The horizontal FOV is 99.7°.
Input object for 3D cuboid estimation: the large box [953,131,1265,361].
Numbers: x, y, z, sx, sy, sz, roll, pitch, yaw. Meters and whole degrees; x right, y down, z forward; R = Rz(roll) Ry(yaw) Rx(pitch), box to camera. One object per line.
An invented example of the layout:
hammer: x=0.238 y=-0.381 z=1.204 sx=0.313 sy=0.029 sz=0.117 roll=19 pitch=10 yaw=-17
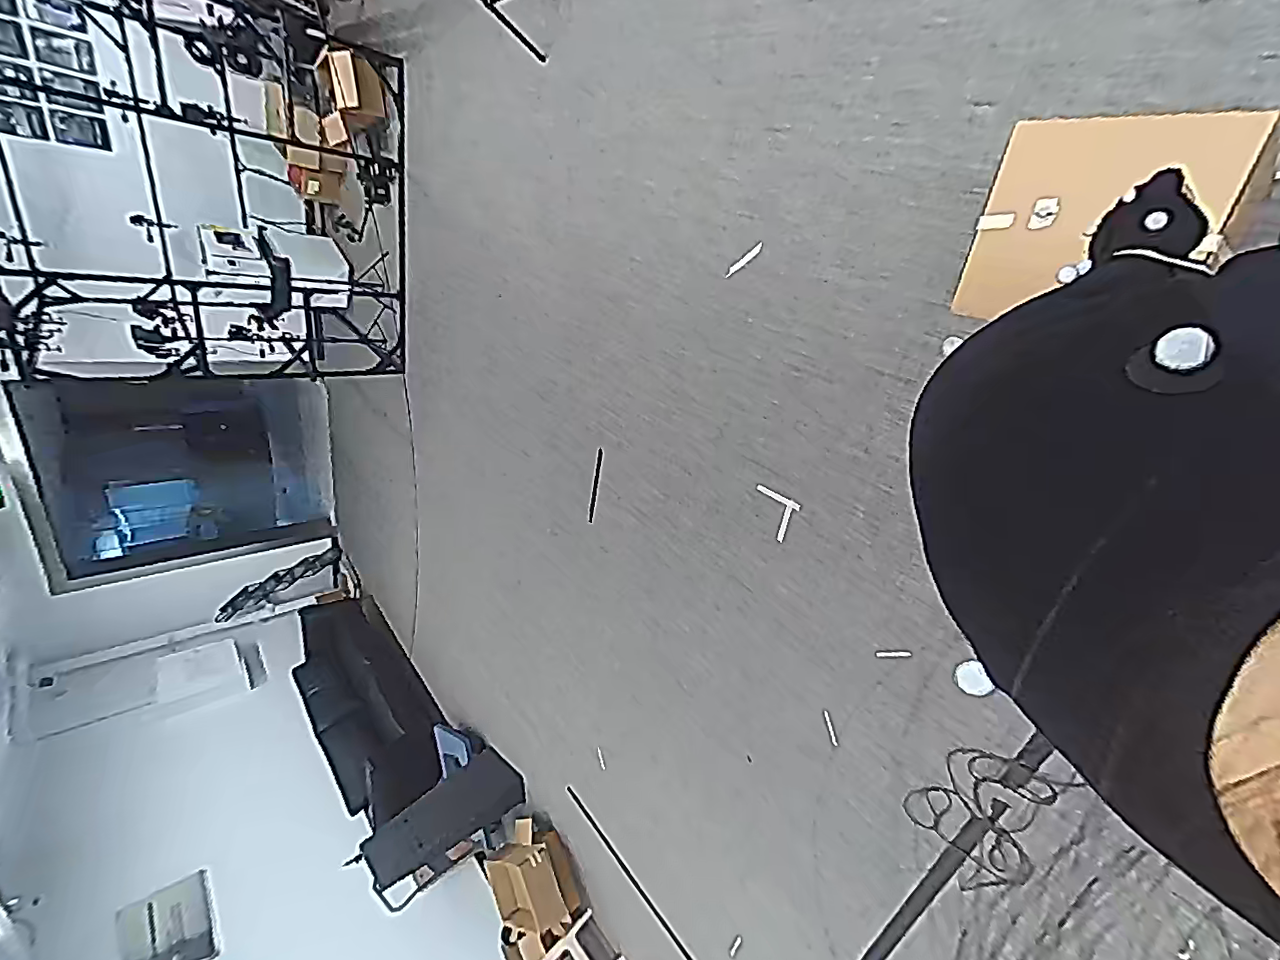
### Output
large box: x=0.844 y=-0.417 z=0.990 sx=0.320 sy=0.408 sz=0.320 roll=31 pitch=123 yaw=39
